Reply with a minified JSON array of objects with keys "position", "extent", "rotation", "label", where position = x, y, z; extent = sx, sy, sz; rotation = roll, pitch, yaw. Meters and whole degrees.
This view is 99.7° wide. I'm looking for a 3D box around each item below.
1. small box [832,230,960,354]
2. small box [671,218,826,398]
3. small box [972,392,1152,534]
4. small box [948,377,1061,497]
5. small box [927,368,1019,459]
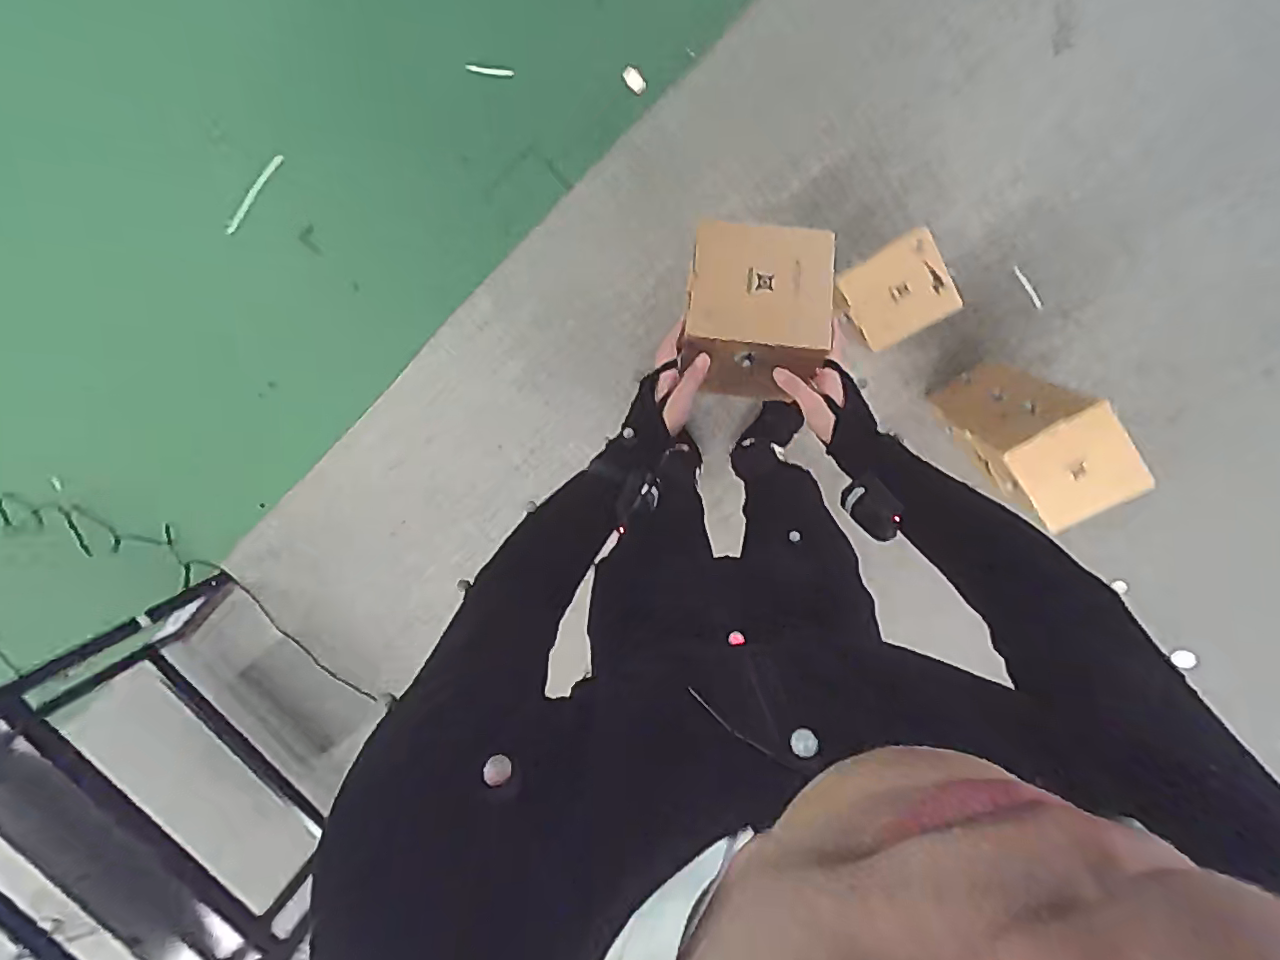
[{"position":[0.505,-0.373,1.096],"extent":[0.179,0.176,0.168],"rotation":[-27,100,21],"label":"small box"},{"position":[0.138,-0.222,0.734],"extent":[0.179,0.176,0.168],"rotation":[6,76,1],"label":"small box"},{"position":[0.743,-0.038,0.973],"extent":[0.168,0.176,0.179],"rotation":[-34,97,21],"label":"small box"},{"position":[0.773,-0.094,1.123],"extent":[0.179,0.176,0.168],"rotation":[-33,98,21],"label":"small box"},{"position":[0.811,-0.148,1.272],"extent":[0.168,0.176,0.179],"rotation":[-35,97,22],"label":"small box"}]
